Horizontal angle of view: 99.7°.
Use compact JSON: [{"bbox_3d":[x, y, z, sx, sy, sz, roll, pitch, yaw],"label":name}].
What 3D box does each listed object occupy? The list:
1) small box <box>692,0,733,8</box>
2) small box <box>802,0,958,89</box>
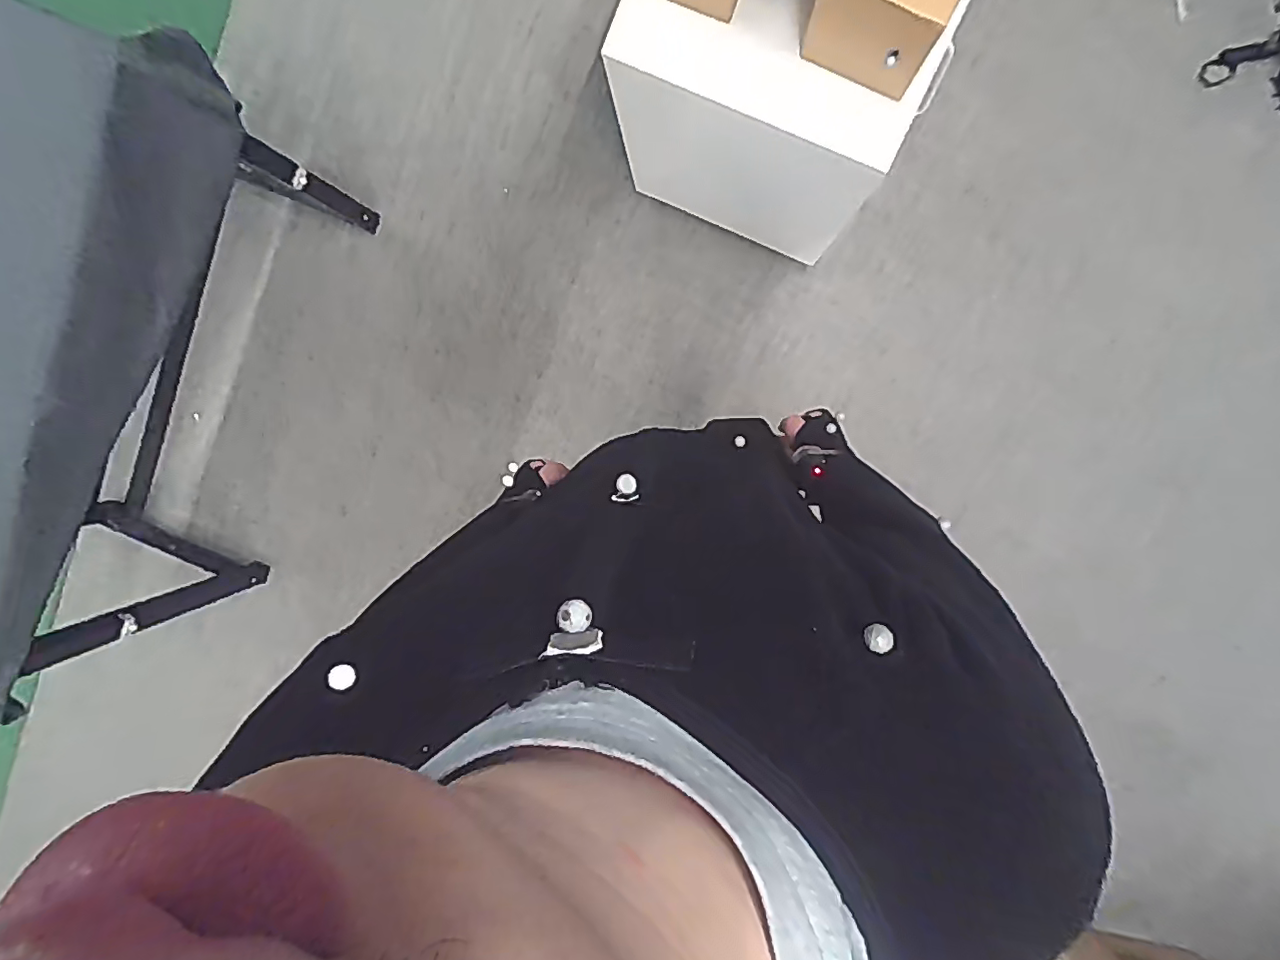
[{"bbox_3d":[0.083,-0.824,0.757,0.179,0.176,0.168,23,99,0],"label":"small box"},{"bbox_3d":[0.352,-0.694,0.751,0.179,0.176,0.168,26,98,4],"label":"small box"}]
